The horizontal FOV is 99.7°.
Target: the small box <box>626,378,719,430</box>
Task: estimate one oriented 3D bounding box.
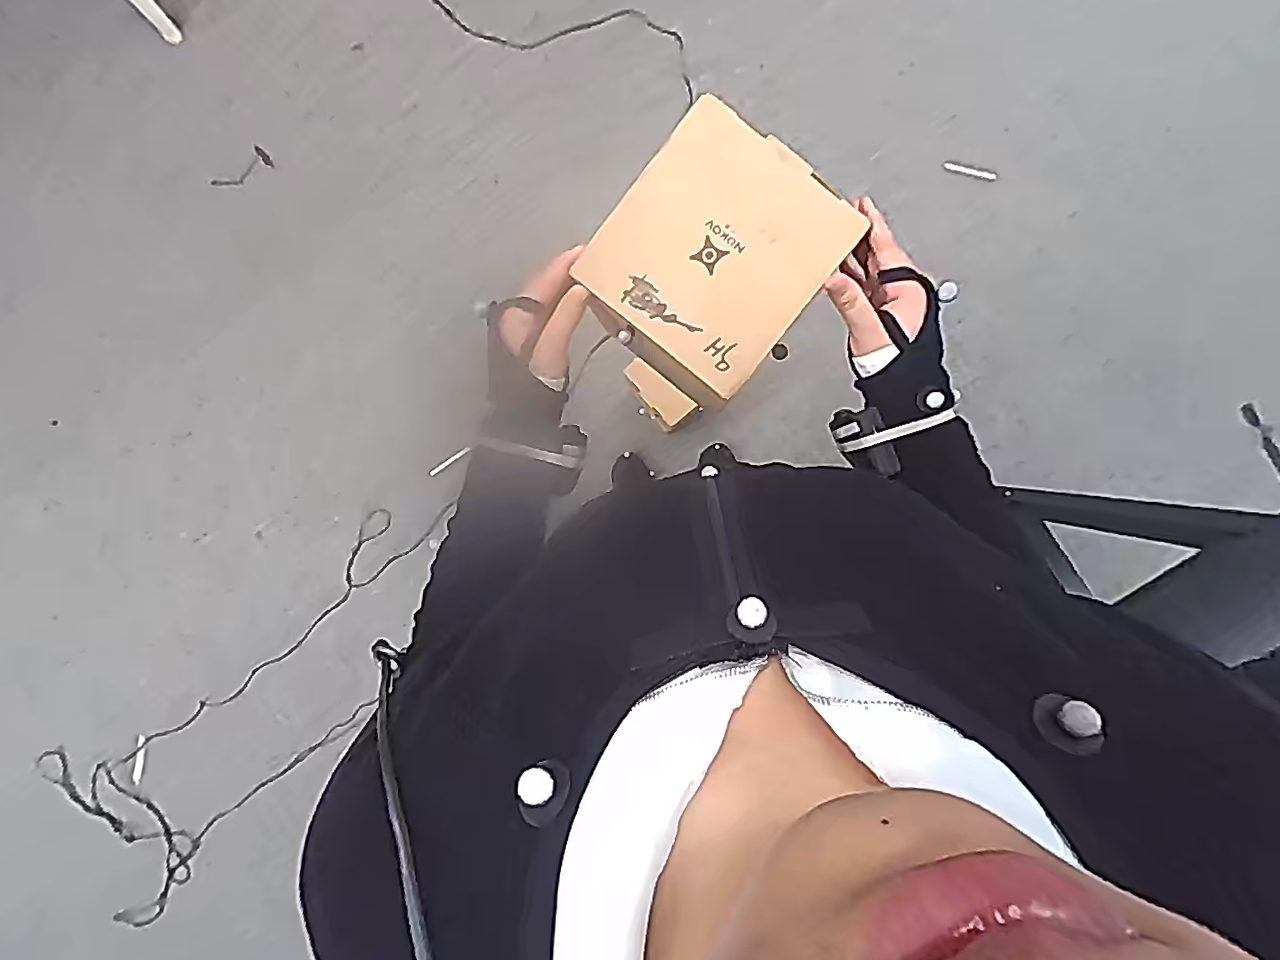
[{"bbox_3d":[0.082,-0.246,1.418,0.179,0.176,0.168,-38,90,4],"label":"small box"}]

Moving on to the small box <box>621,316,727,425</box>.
[{"bbox_3d":[0.077,-0.243,1.255,0.179,0.176,0.168,-41,91,3],"label":"small box"}]
